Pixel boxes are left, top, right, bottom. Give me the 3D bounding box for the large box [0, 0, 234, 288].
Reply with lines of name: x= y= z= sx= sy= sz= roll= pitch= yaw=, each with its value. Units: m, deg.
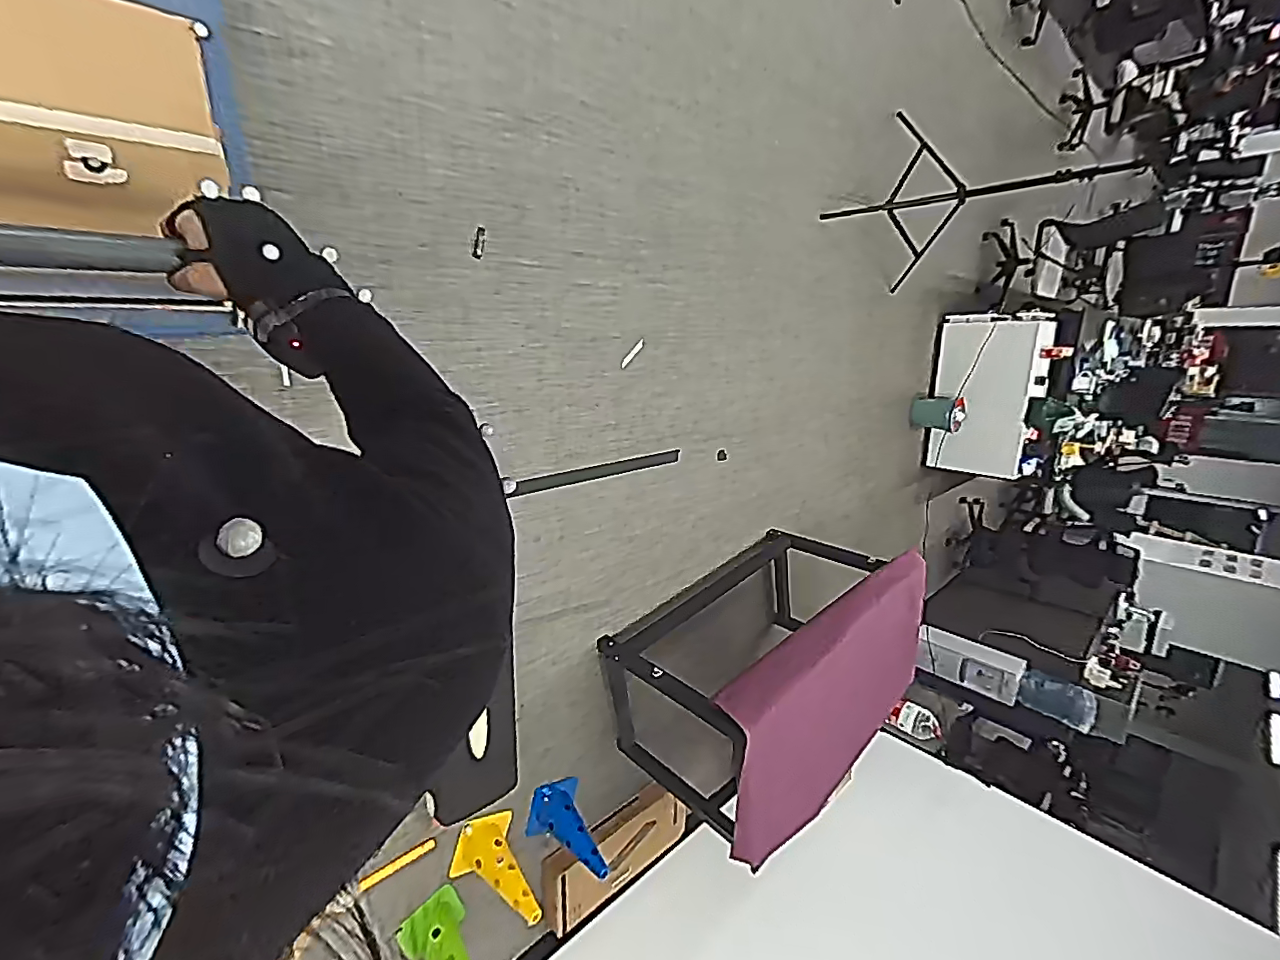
large box: x=-0.850 y=-0.446 z=0.740 sx=0.408 sy=0.320 sz=0.320 roll=-14 pitch=109 yaw=-41
